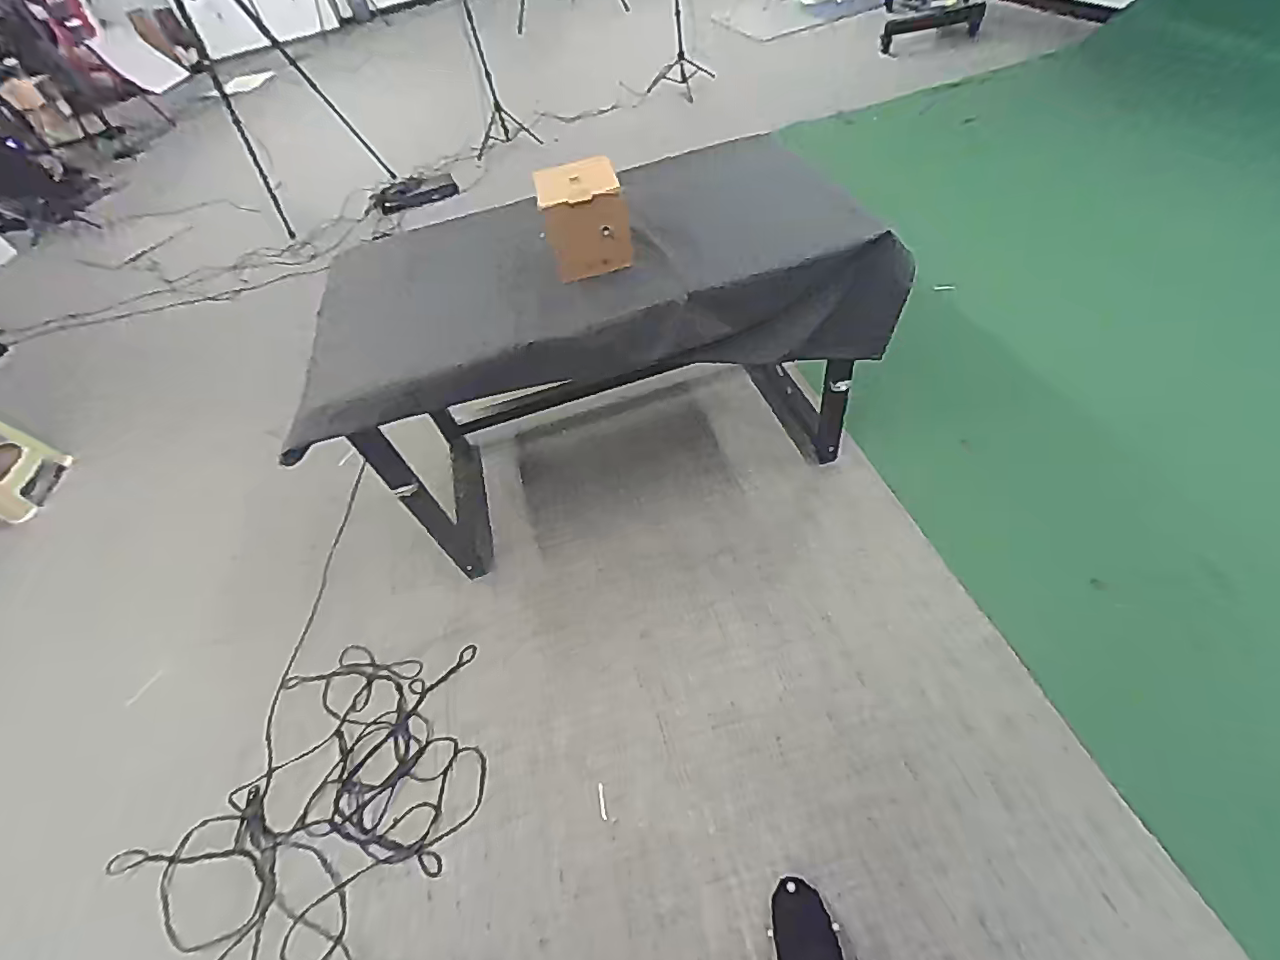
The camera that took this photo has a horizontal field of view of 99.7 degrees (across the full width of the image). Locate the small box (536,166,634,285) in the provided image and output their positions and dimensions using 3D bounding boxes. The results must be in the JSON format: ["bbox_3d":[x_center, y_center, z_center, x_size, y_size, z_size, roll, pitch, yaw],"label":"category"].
[{"bbox_3d":[-0.116,-0.539,1.162,0.168,0.176,0.179,-14,49,-1],"label":"small box"}]
